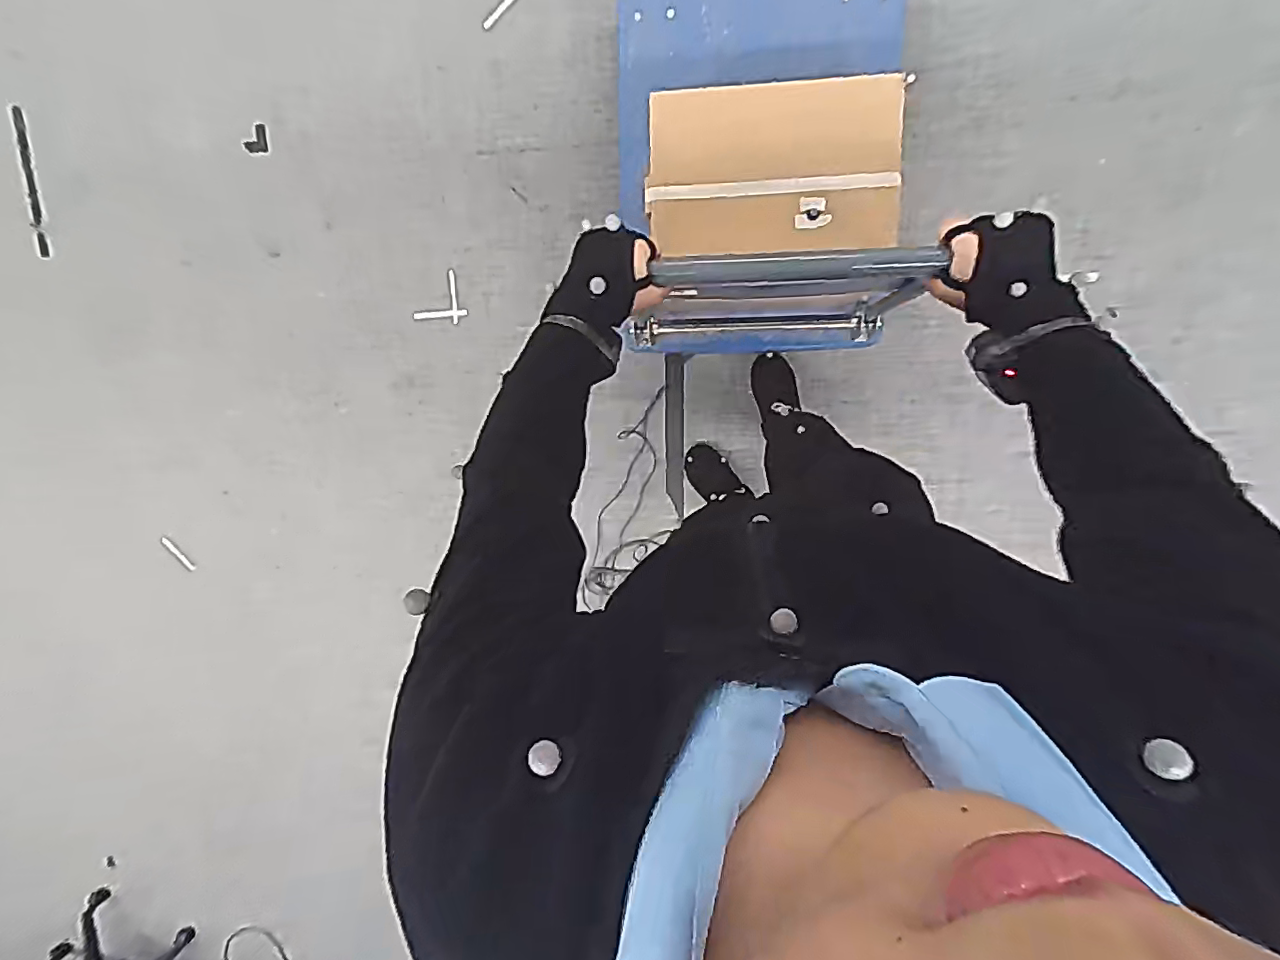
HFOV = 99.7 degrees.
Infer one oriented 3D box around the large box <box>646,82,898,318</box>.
[{"bbox_3d":[0.226,-0.495,1.037,0.408,0.320,0.320,0,101,6],"label":"large box"}]
